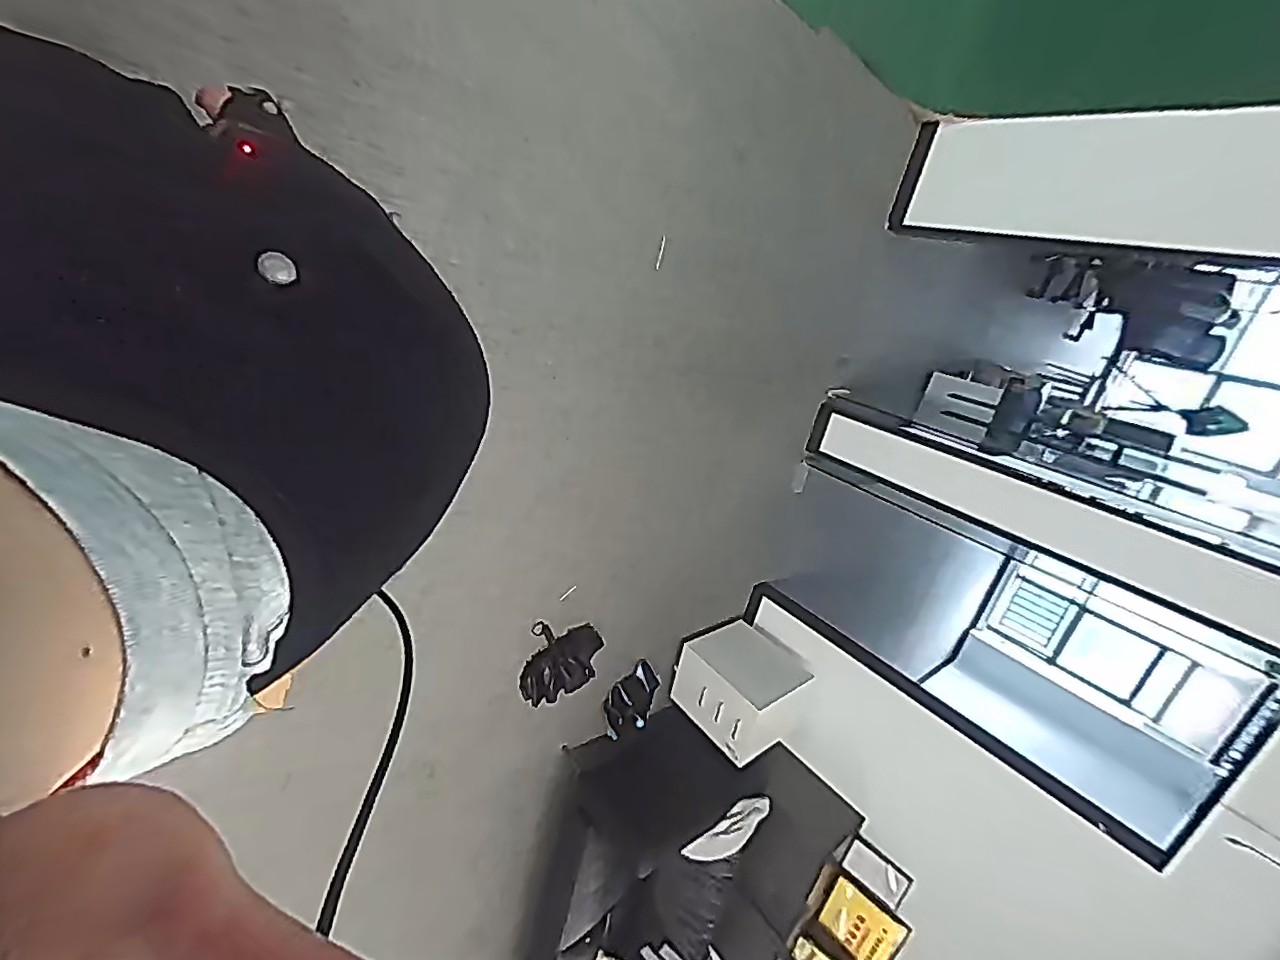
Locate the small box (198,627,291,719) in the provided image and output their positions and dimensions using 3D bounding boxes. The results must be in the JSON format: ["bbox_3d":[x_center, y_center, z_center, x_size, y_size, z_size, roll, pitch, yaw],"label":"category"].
[{"bbox_3d":[-1.105,0.528,1.507,0.179,0.176,0.168,8,107,-45],"label":"small box"}]
